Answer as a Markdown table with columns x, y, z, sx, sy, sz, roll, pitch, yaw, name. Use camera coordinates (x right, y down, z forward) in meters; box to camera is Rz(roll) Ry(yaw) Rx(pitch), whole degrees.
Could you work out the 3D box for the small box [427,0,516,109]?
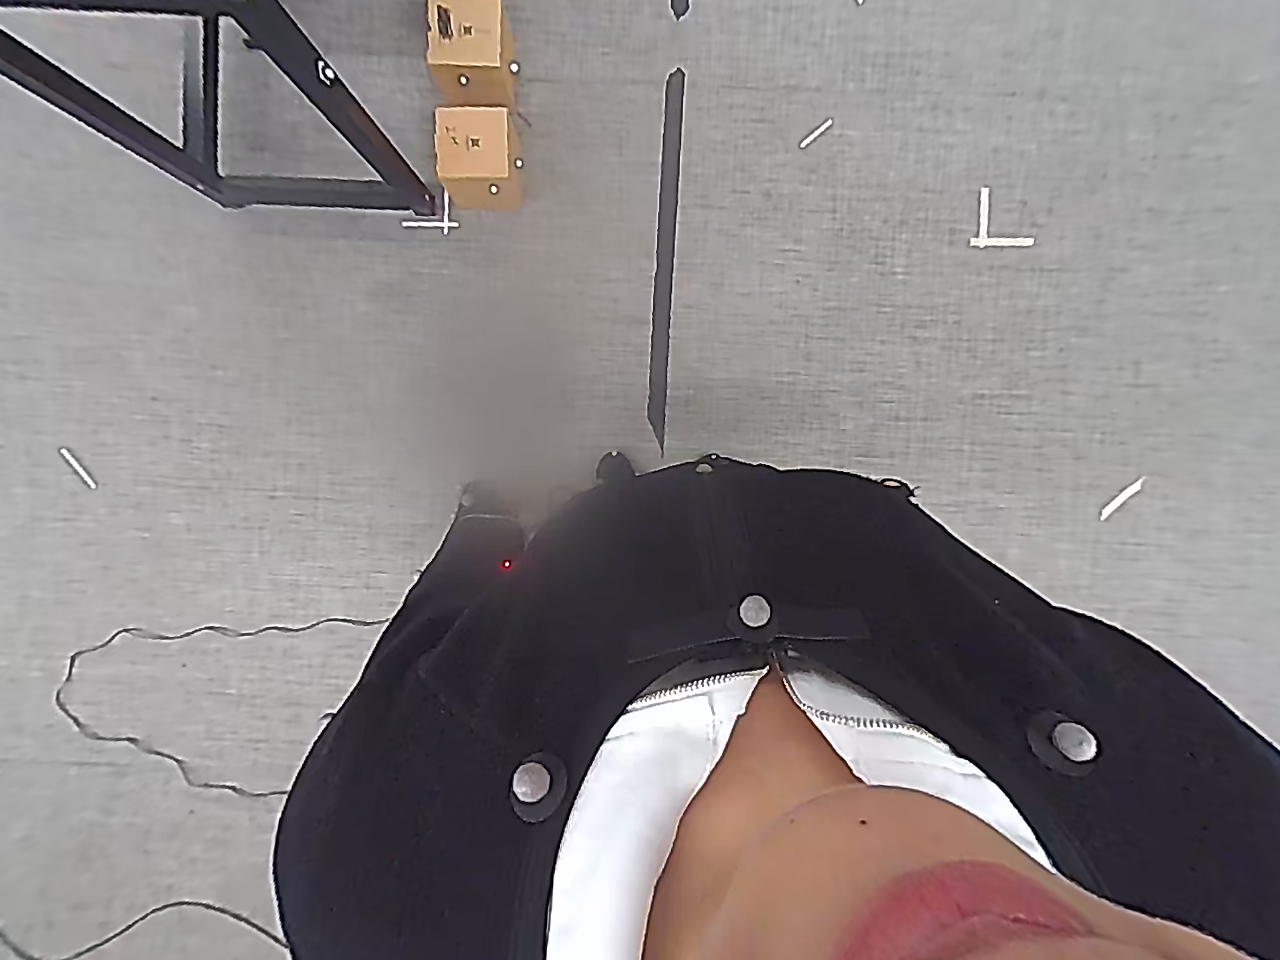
| x | y | z | sx | sy | sz | roll | pitch | yaw | name |
| --- | --- | --- | --- | --- | --- | --- | --- | --- | --- |
| -0.421 | -1.076 | 1.369 | 0.179 | 0.176 | 0.168 | 1 | 93 | -1 | small box |
